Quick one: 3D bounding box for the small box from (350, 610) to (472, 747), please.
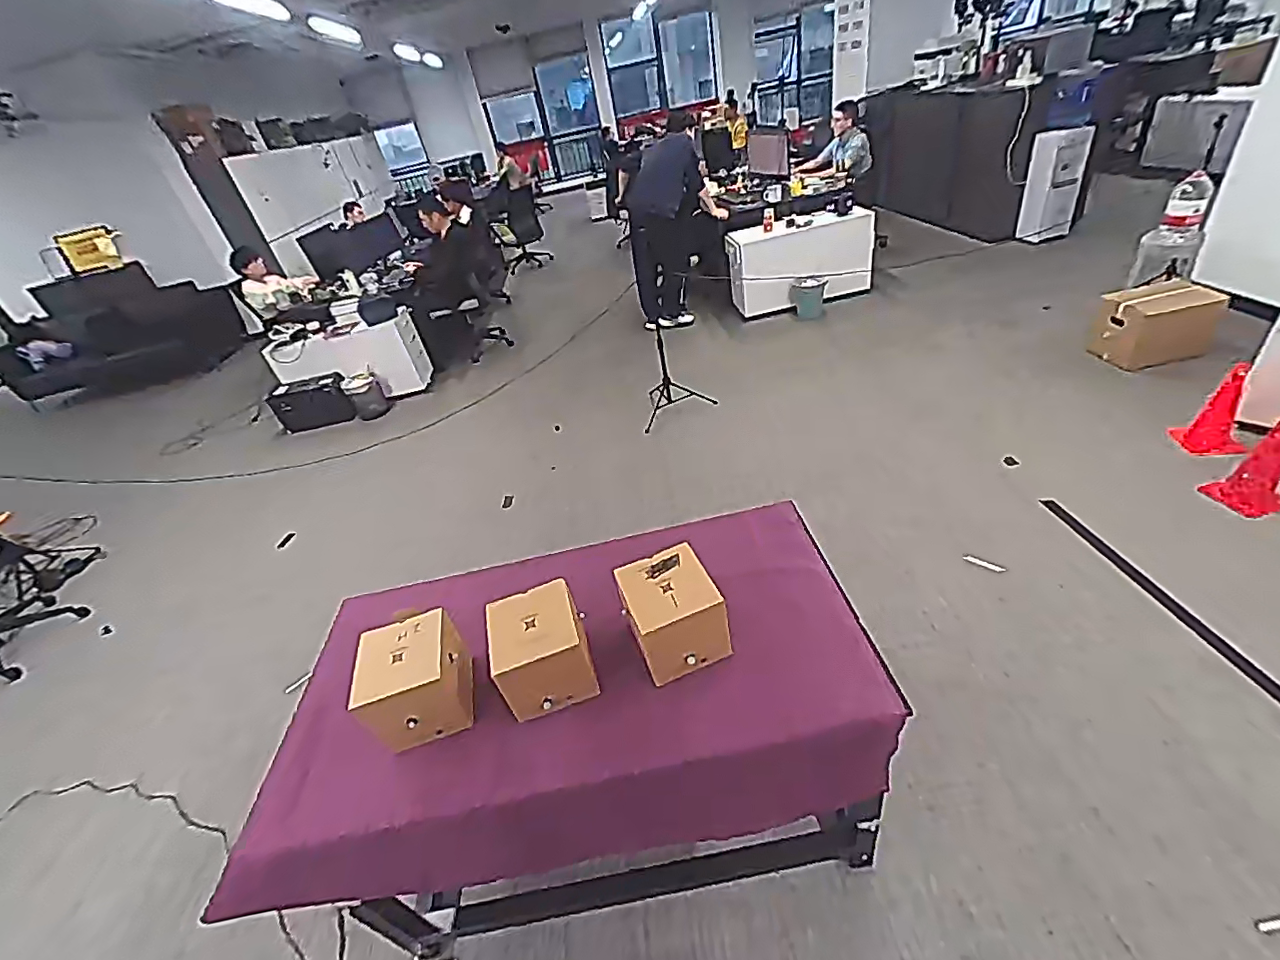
[{"bbox_3d":[-0.438,0.397,1.067,0.168,0.176,0.179,-17,36,-6],"label":"small box"}]

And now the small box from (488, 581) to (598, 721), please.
[{"bbox_3d":[-0.193,0.337,1.072,0.168,0.176,0.179,-19,36,-7],"label":"small box"}]

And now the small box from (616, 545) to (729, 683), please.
[{"bbox_3d":[0.065,0.267,1.084,0.168,0.176,0.179,-20,37,-9],"label":"small box"}]
